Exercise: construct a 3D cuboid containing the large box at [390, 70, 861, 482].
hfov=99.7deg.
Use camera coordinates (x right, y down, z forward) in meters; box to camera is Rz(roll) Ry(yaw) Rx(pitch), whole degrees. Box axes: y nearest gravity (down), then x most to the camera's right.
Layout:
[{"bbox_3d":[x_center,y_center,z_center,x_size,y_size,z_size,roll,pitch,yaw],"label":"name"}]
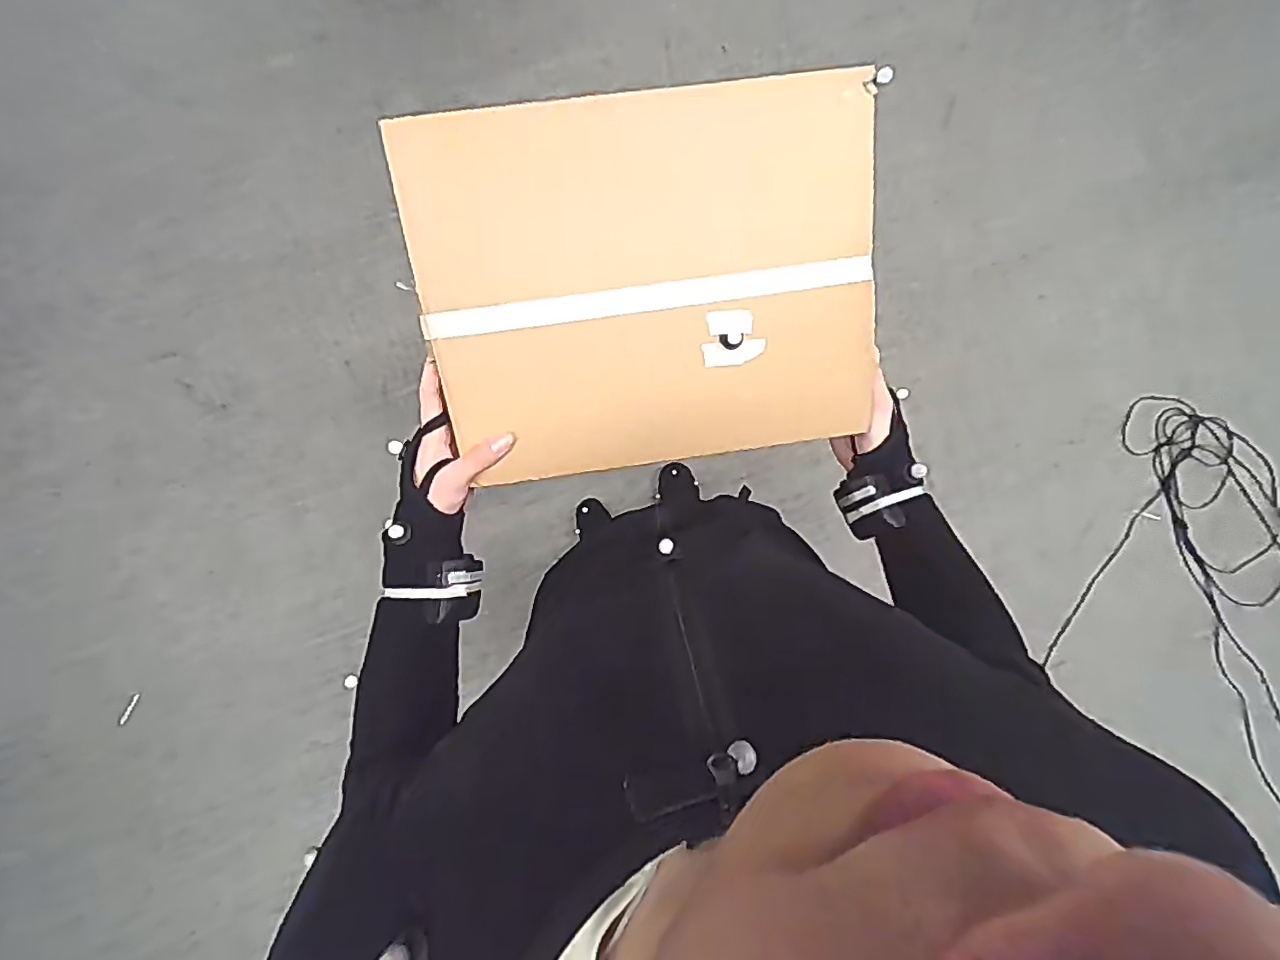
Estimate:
[{"bbox_3d":[-0.006,-0.216,0.635,0.408,0.320,0.320,-9,109,-3],"label":"large box"}]
